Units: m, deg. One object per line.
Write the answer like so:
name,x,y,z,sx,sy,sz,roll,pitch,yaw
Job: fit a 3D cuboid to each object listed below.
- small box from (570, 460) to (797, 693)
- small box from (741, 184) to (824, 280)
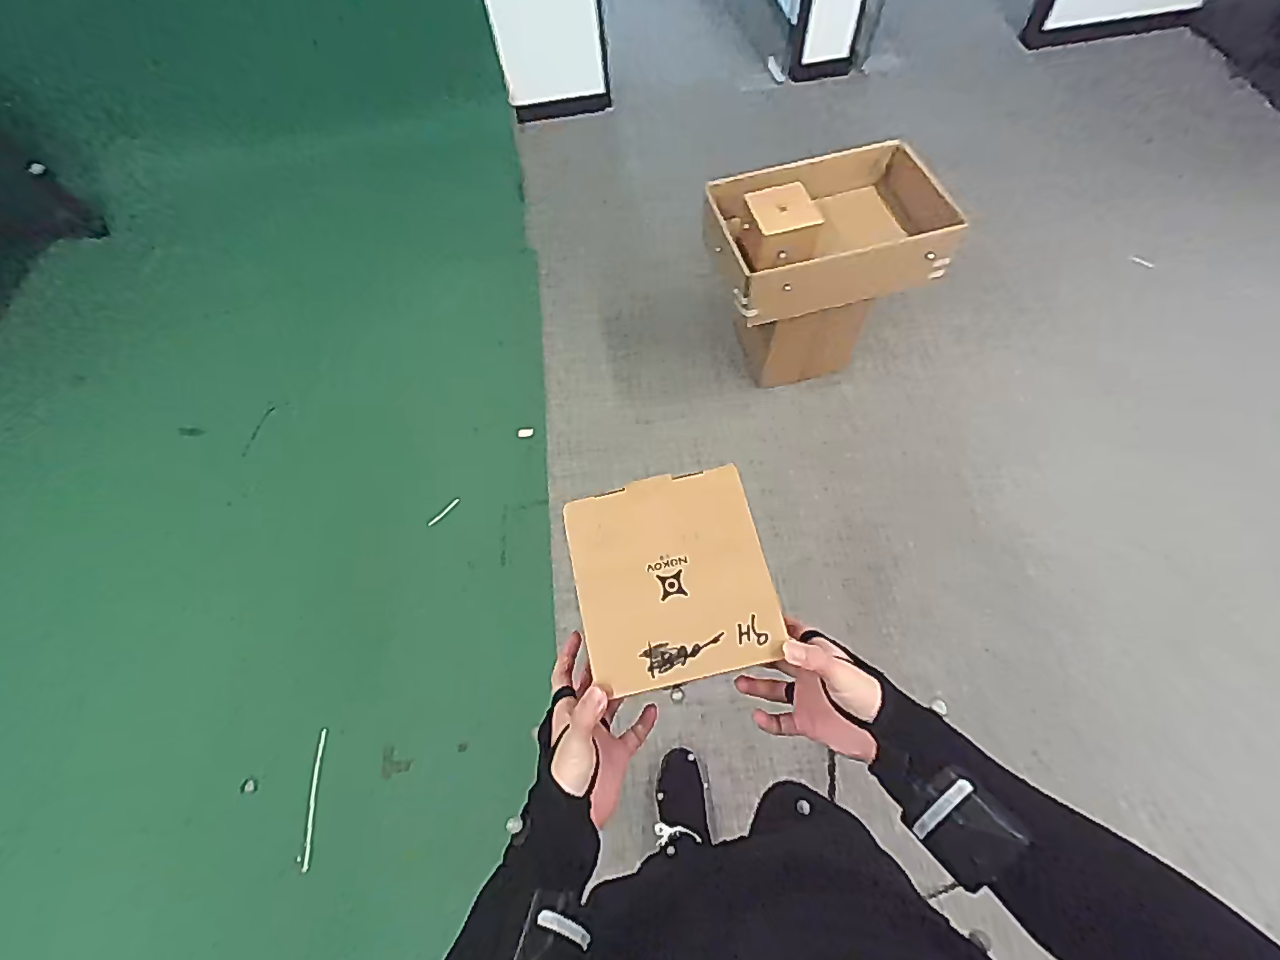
small box,0.035,0.104,0.529,0.168,0.176,0.179,-12,69,0
small box,0.391,-0.682,1.511,0.168,0.176,0.179,-14,62,-3
